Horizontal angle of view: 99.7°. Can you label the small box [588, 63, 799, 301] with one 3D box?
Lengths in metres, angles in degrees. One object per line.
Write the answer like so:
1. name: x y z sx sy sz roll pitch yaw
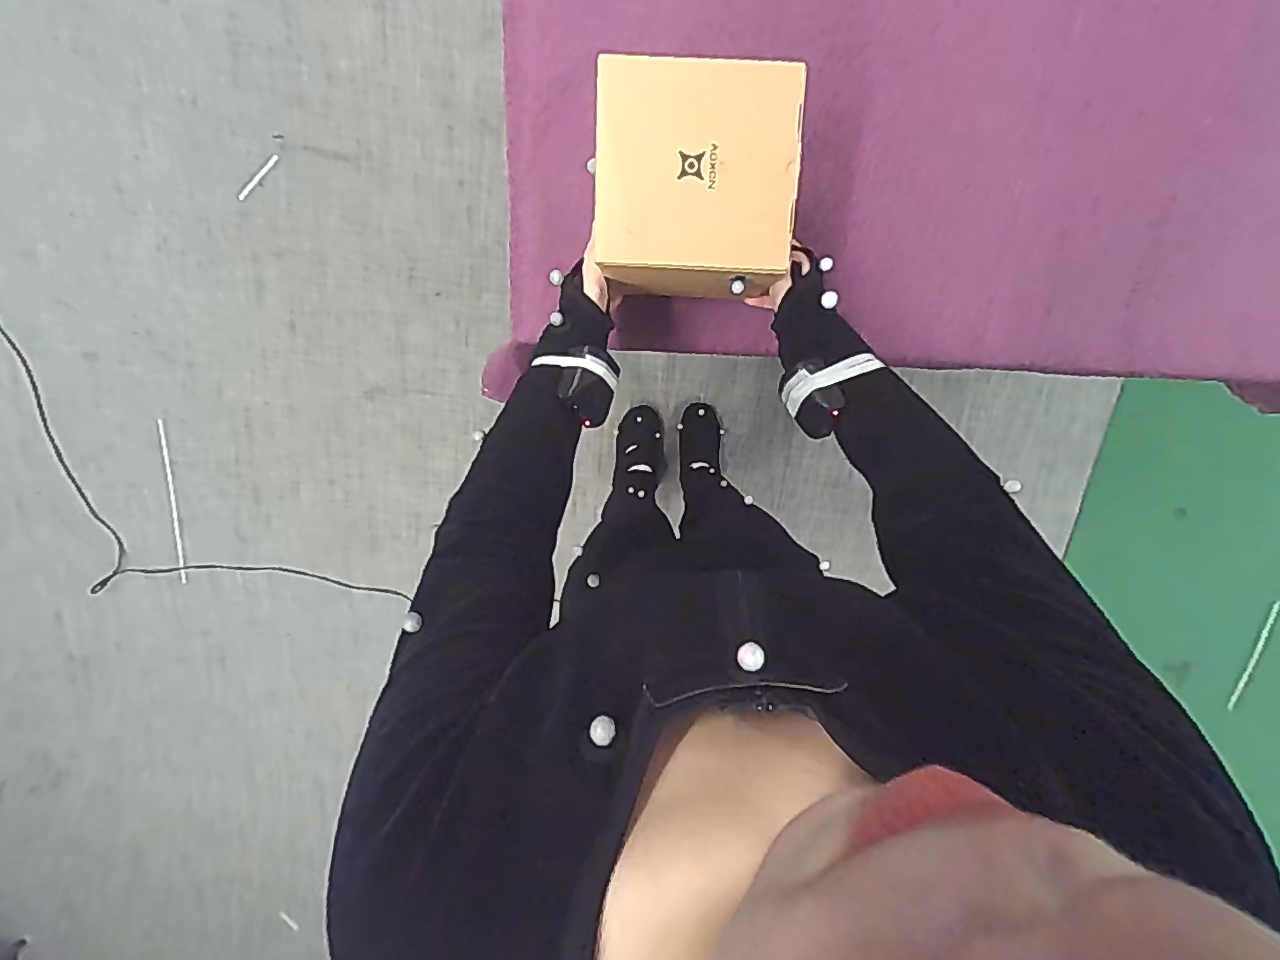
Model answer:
1. small box: 0.046 -0.280 0.545 0.179 0.176 0.168 2 100 0
